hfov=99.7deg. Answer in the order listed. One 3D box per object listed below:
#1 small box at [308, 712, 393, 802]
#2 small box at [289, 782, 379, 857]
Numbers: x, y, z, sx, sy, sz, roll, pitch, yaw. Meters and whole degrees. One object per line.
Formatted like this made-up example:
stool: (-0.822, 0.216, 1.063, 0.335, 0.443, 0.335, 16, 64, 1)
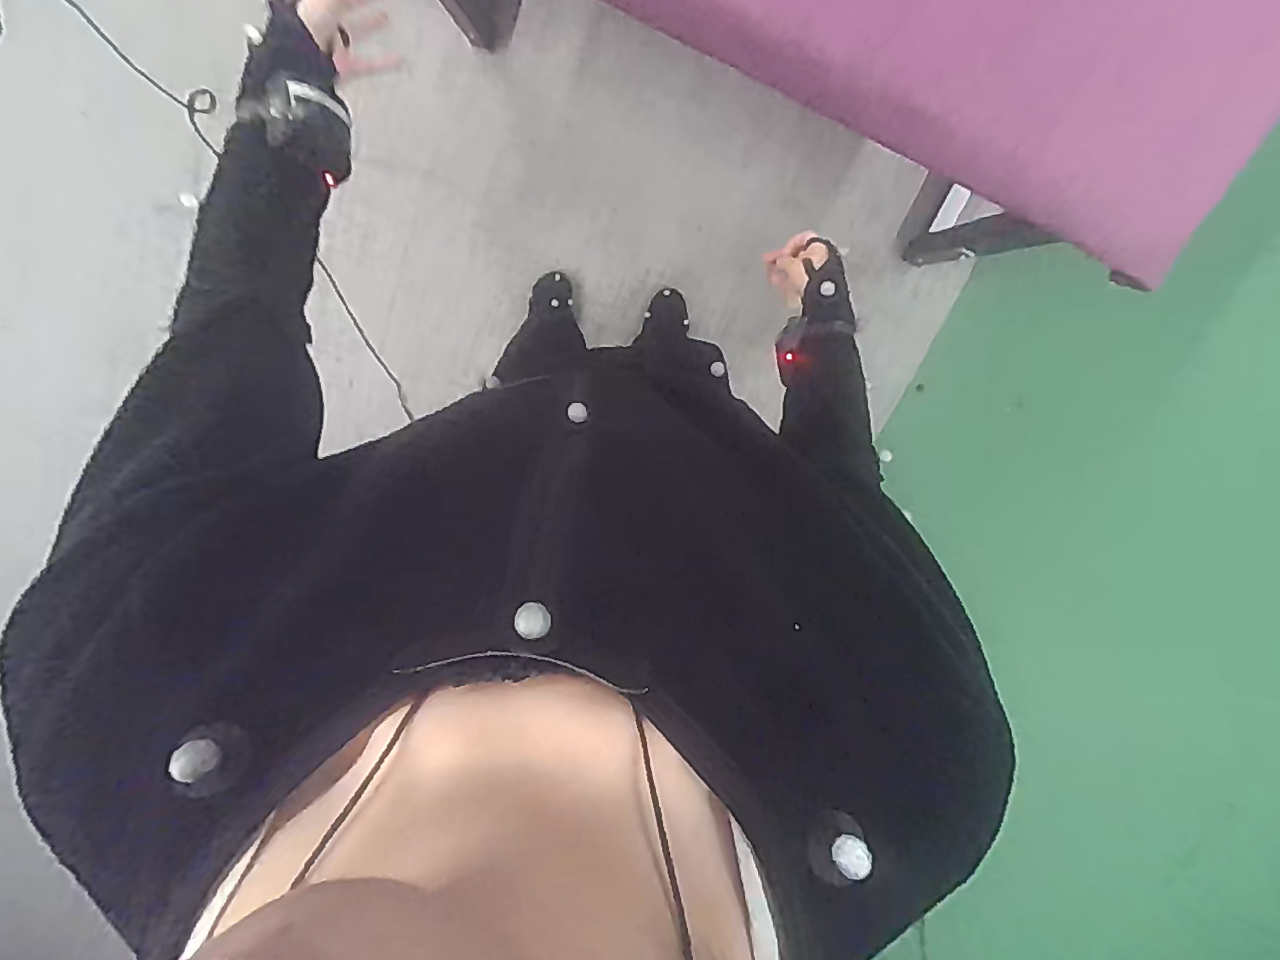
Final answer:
small box: (-0.939, 0.899, 1.769, 0.168, 0.176, 0.179, 26, 108, -5)
small box: (-1.036, 1.124, 1.845, 0.179, 0.176, 0.168, 37, 106, -7)
